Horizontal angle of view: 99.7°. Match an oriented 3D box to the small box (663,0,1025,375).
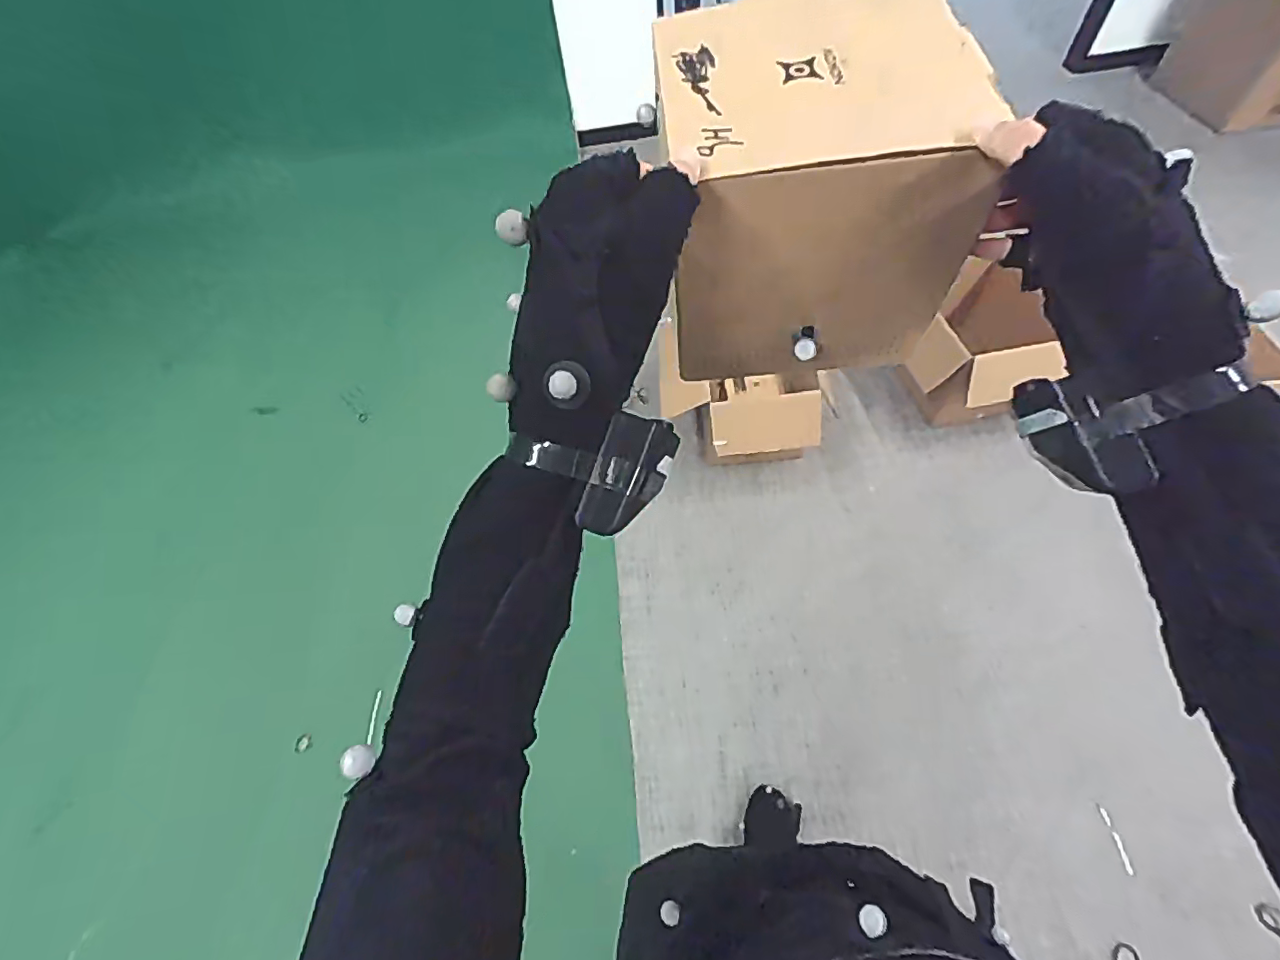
[{"bbox_3d":[0.108,-0.192,0.376,0.179,0.176,0.168,-4,62,3],"label":"small box"}]
